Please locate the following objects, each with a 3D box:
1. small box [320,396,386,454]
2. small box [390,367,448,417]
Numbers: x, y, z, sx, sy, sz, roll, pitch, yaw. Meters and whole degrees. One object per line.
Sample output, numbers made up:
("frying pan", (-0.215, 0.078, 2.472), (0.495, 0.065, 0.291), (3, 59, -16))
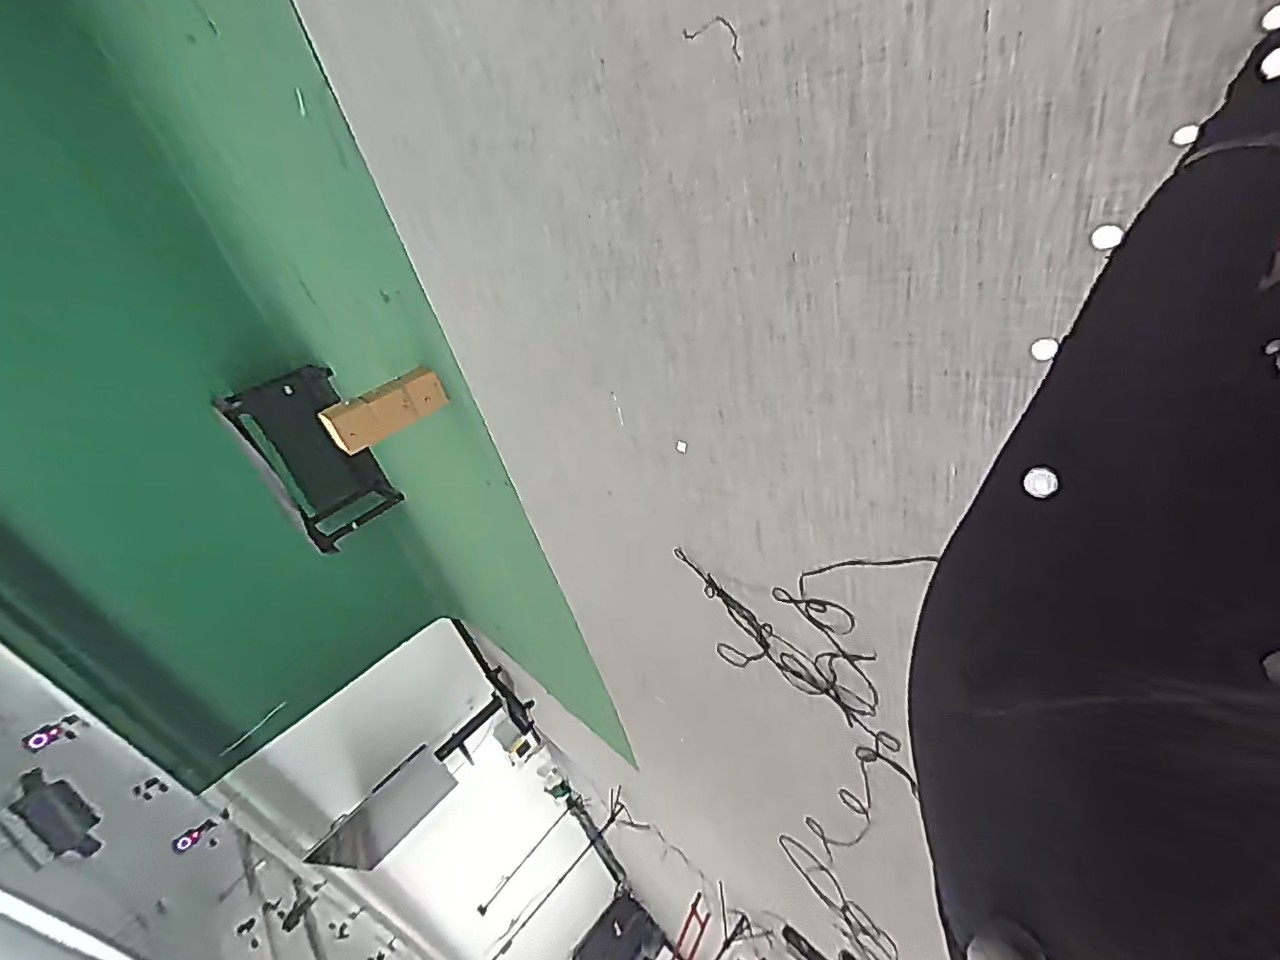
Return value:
("small box", (-1.250, -0.244, 2.367), (0.168, 0.176, 0.179), (21, 138, 41))
("small box", (-1.028, -0.419, 2.536), (0.179, 0.176, 0.168), (20, 137, 44))
